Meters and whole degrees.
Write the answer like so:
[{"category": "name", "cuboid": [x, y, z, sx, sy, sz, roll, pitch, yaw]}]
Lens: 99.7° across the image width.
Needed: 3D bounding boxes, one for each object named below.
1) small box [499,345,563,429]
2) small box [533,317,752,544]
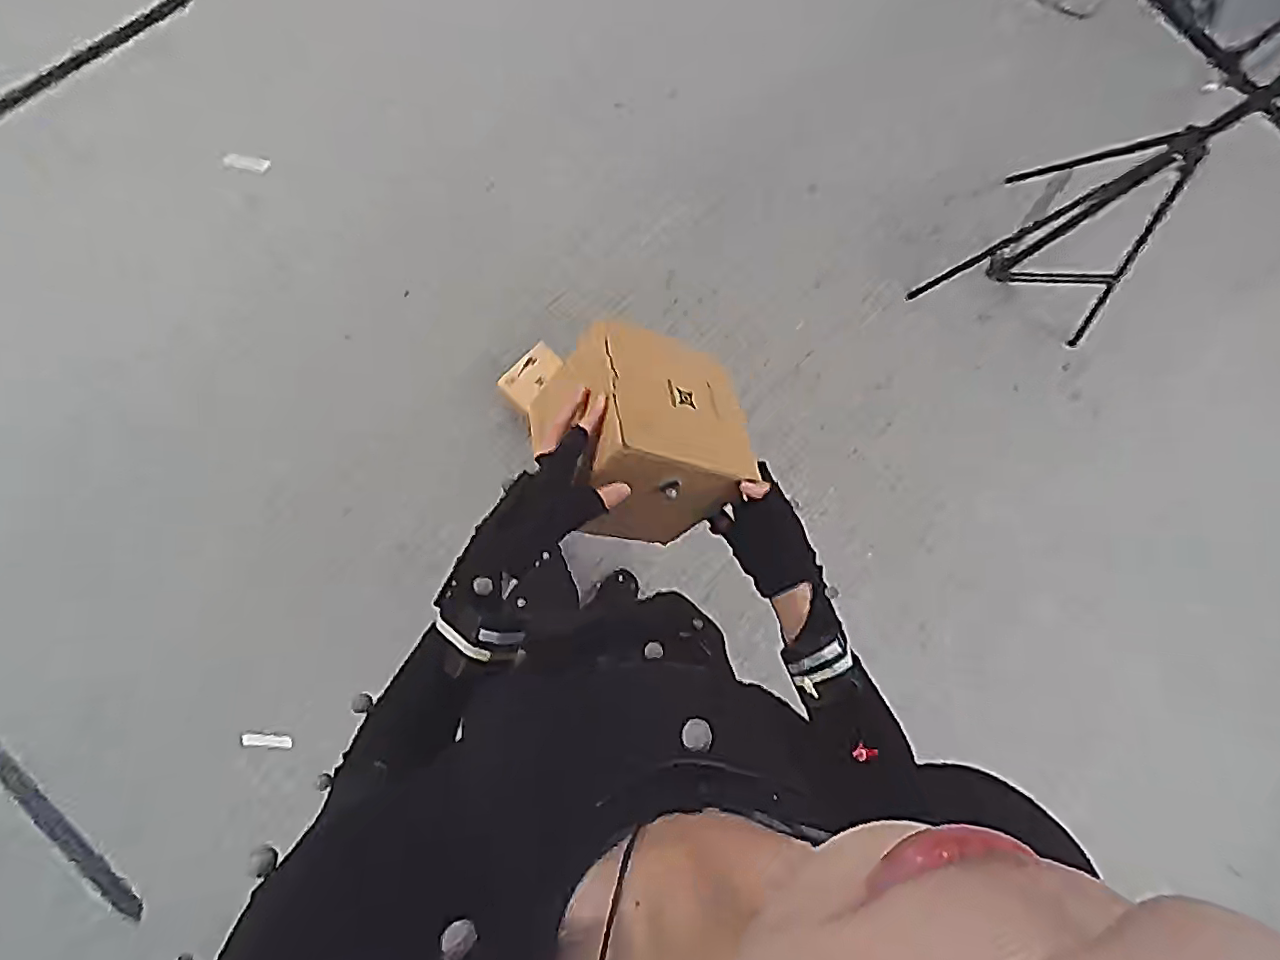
[{"category": "small box", "cuboid": [-0.259, -0.232, 1.487, 0.179, 0.176, 0.168, 45, 80, 0]}, {"category": "small box", "cuboid": [-0.011, -0.041, 0.598, 0.179, 0.176, 0.168, 12, 54, -32]}]
